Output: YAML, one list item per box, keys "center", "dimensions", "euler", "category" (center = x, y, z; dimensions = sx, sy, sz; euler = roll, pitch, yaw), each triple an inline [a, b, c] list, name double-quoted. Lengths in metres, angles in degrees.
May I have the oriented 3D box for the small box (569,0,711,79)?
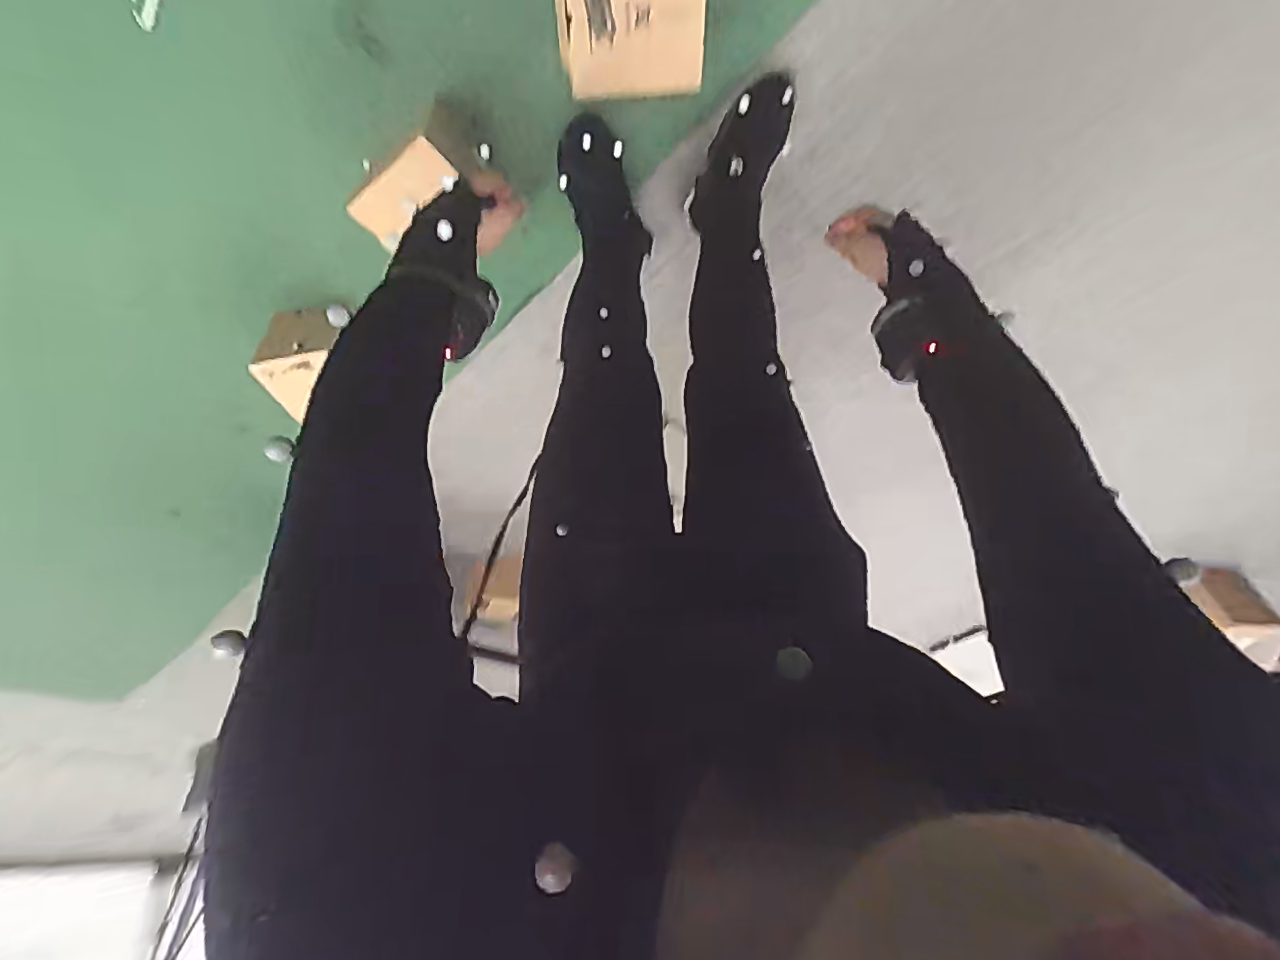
- center: [-0.007, -0.648, 0.702]
  dimensions: [0.179, 0.176, 0.168]
  euler: [-6, 143, -3]
  category: "small box"

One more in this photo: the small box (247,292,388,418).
- center: [-0.647, -0.256, 1.114]
  dimensions: [0.168, 0.176, 0.179]
  euler: [-9, 144, 3]
  category: "small box"

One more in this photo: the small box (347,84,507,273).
- center: [-0.329, -0.481, 0.870]
  dimensions: [0.179, 0.176, 0.168]
  euler: [-27, 140, 23]
  category: "small box"
